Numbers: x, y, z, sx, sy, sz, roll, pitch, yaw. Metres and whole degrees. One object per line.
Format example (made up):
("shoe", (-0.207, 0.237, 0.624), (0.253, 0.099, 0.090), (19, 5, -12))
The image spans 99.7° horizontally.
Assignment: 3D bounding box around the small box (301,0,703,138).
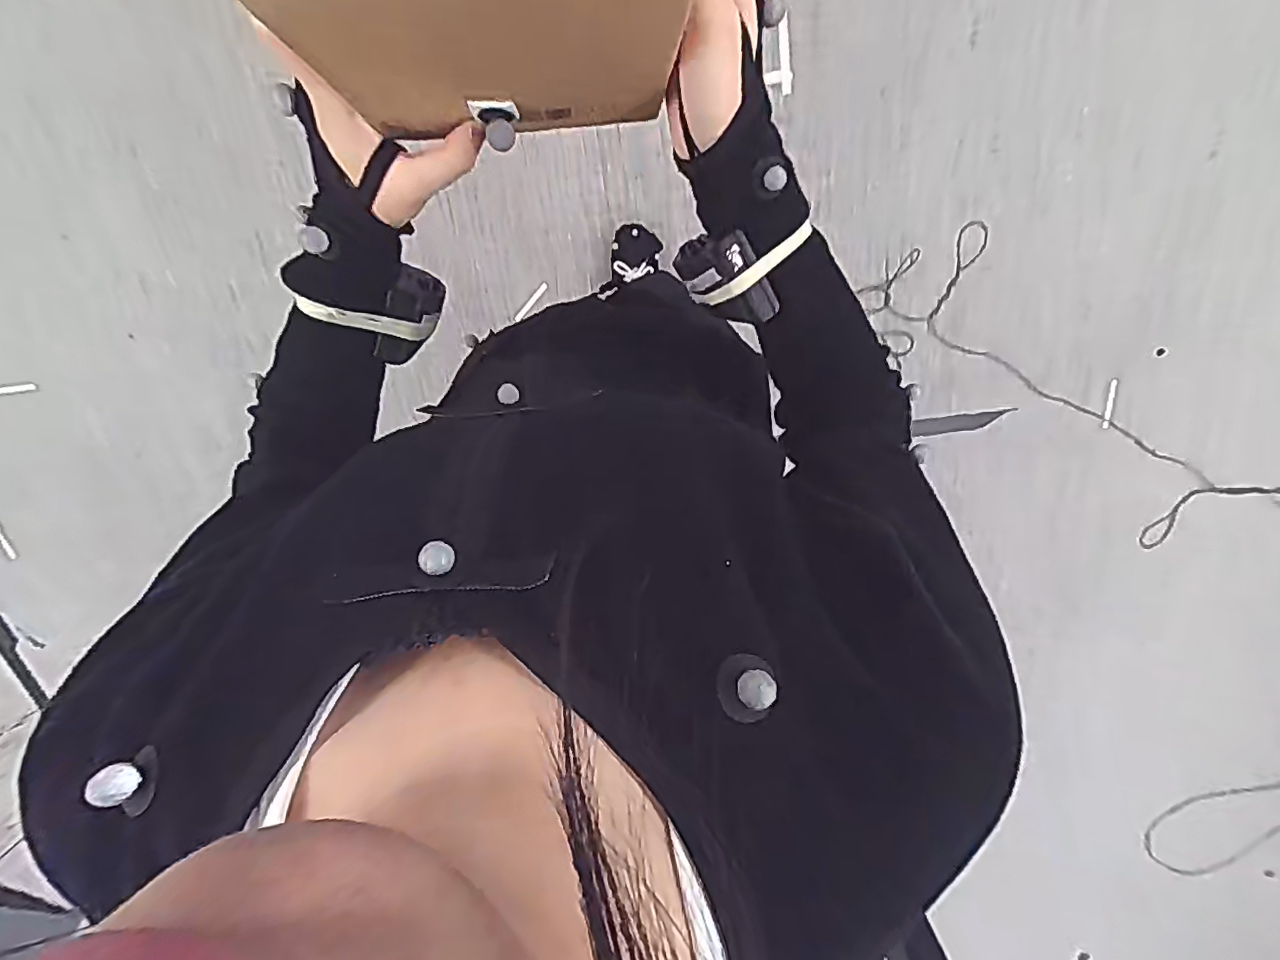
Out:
("small box", (-0.066, -0.276, 0.228), (0.168, 0.176, 0.179), (-8, 106, -2))
